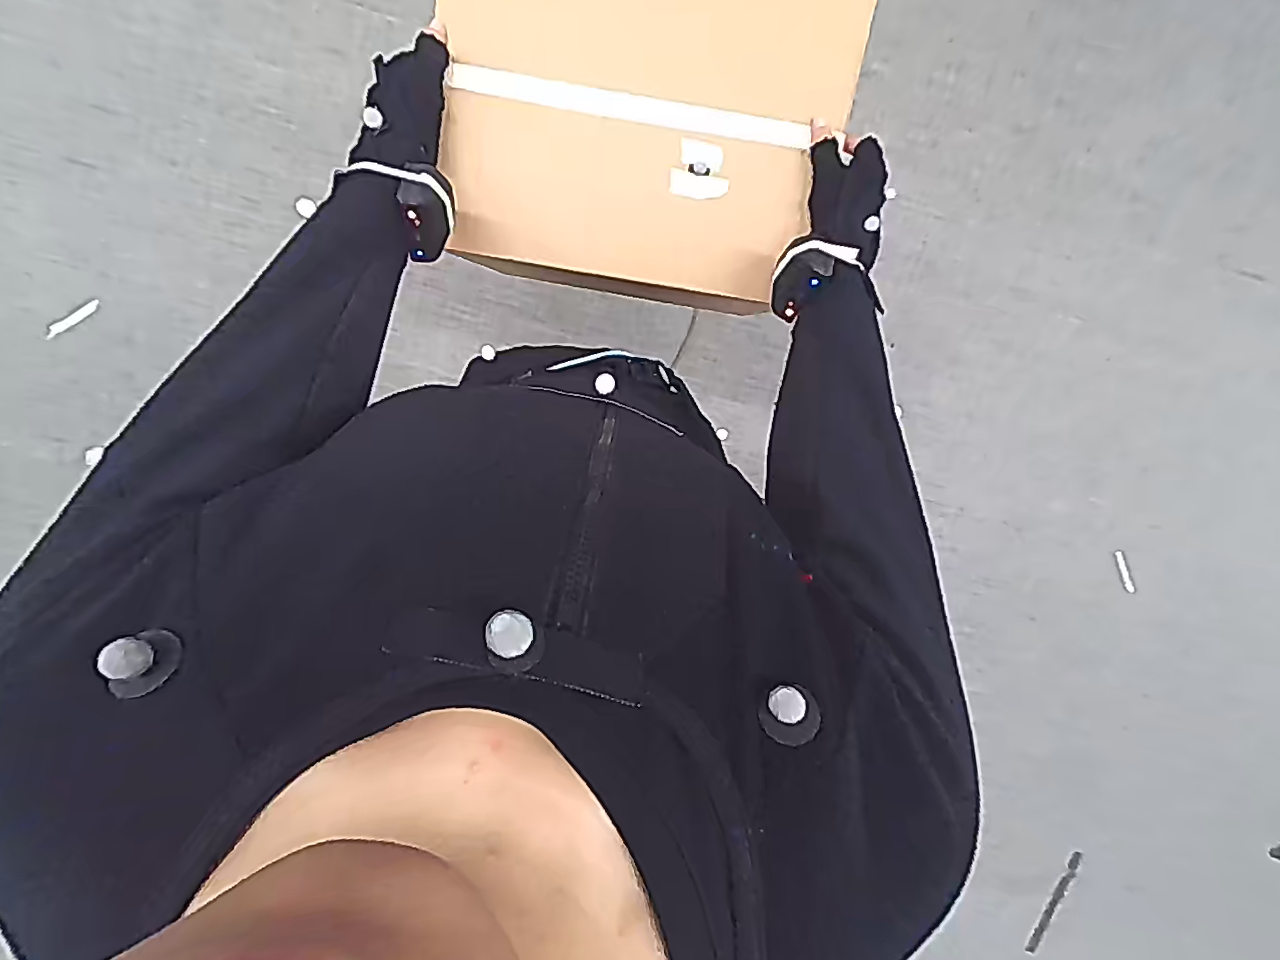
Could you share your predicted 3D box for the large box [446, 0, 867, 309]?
[{"bbox_3d":[0.003,-0.410,0.693,0.408,0.320,0.320,8,107,-4],"label":"large box"}]
